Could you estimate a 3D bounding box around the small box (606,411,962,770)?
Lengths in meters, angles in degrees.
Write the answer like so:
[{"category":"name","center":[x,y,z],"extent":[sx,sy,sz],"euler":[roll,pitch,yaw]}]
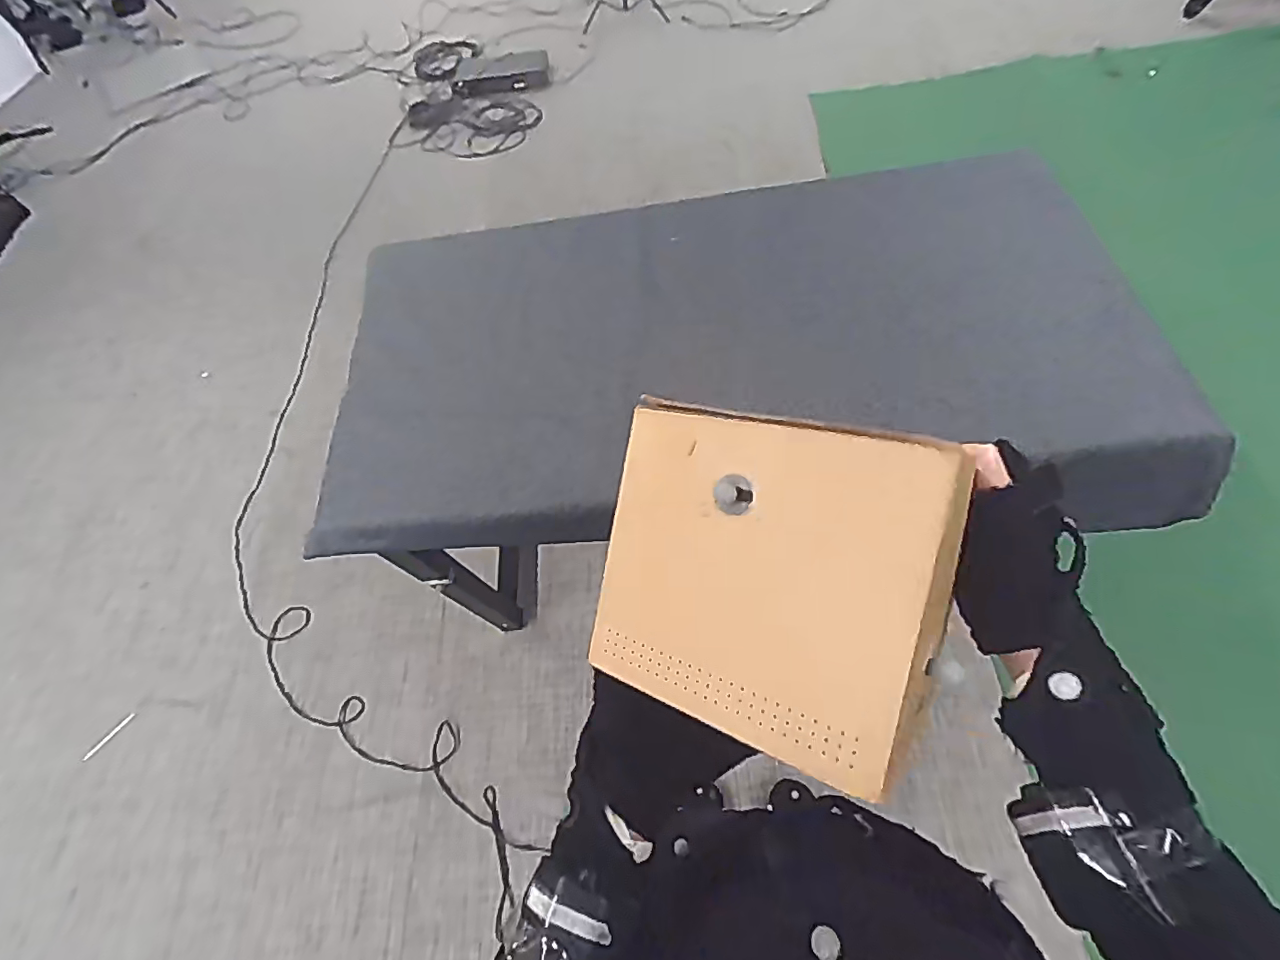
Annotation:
[{"category":"small box","center":[0.098,0.057,0.369],"extent":[0.179,0.168,0.176],"euler":[14,96,34]}]
